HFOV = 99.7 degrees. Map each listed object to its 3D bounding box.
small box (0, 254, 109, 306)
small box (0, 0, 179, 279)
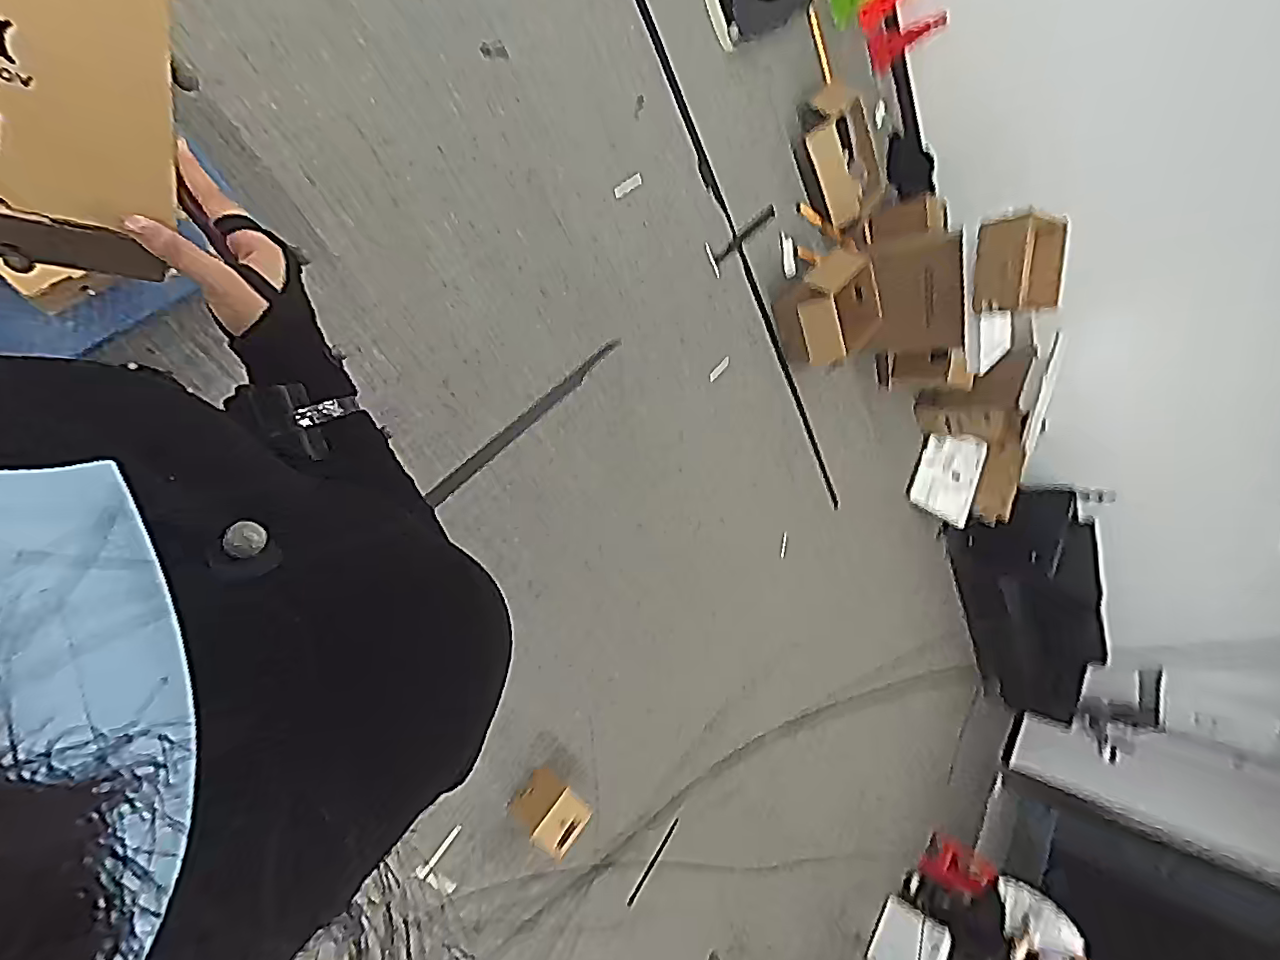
[{"bbox_3d":[-0.930,-0.391,0.822,0.168,0.176,0.179,-50,124,-27],"label":"small box"},{"bbox_3d":[-0.420,-0.251,0.358,0.168,0.176,0.179,-1,97,-44],"label":"small box"}]
